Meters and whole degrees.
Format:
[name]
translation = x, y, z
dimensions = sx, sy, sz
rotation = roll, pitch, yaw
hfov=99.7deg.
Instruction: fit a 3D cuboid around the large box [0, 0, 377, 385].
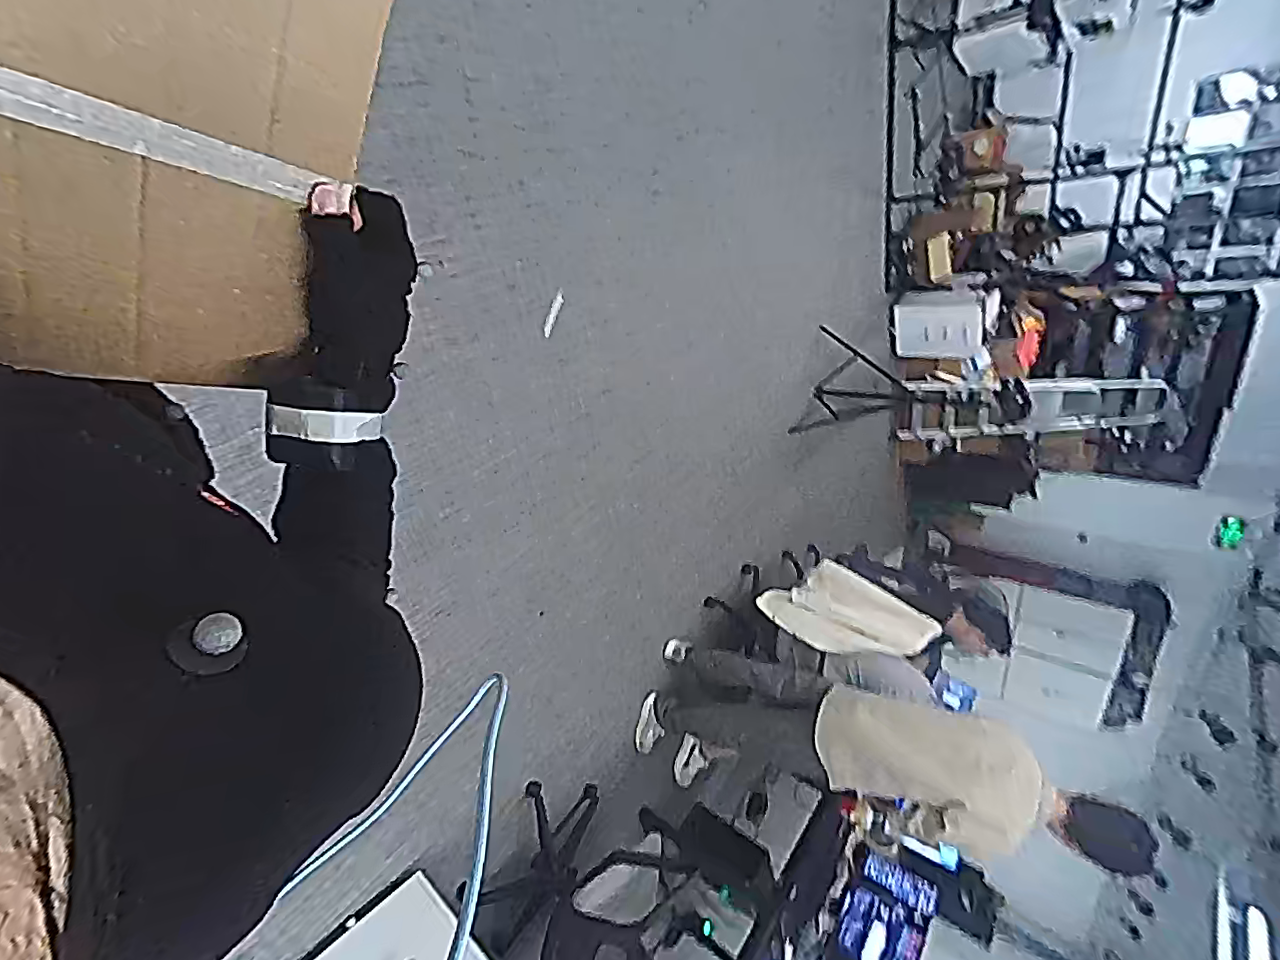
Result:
[large box]
translation = -0.423, -0.274, 0.289
dimensions = 0.408, 0.320, 0.320
rotation = -5, 137, -47
